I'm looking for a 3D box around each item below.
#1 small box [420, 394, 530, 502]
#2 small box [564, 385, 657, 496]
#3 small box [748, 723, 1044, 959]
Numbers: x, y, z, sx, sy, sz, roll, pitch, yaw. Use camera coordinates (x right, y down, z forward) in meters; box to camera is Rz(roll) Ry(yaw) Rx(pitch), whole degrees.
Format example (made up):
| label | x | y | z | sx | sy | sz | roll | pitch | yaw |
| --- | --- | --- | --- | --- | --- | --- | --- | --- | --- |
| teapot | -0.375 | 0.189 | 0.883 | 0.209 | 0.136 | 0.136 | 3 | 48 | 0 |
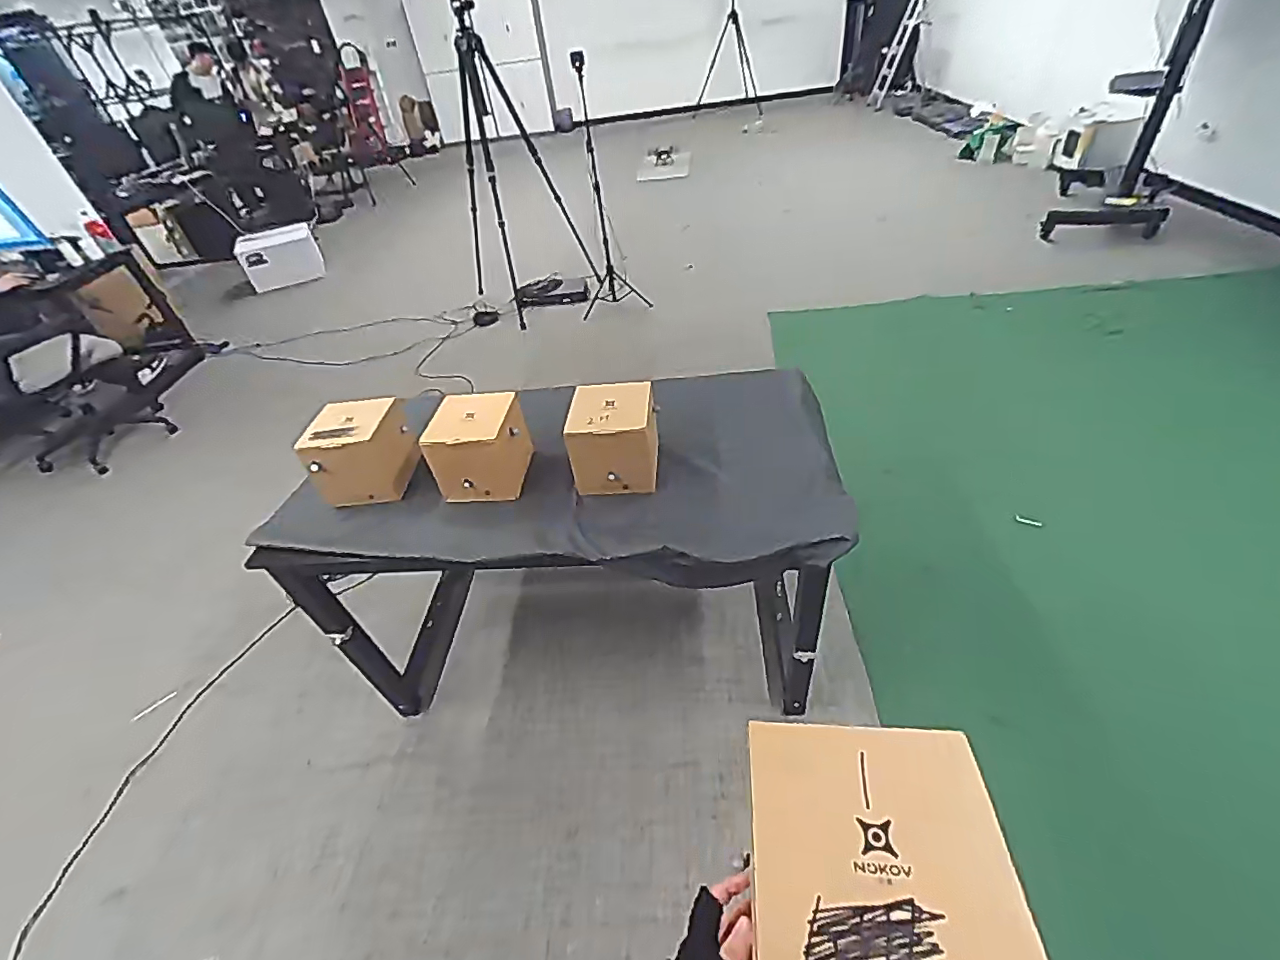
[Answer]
| label | x | y | z | sx | sy | sz | roll | pitch | yaw |
| --- | --- | --- | --- | --- | --- | --- | --- | --- | --- |
| small box | -0.350 | -0.071 | 1.190 | 0.168 | 0.176 | 0.179 | -2 | 42 | 6 |
| small box | -0.054 | -0.085 | 1.156 | 0.168 | 0.176 | 0.179 | -2 | 42 | 8 |
| small box | 0.168 | 0.313 | 0.408 | 0.168 | 0.176 | 0.179 | -1 | 37 | 9 |
